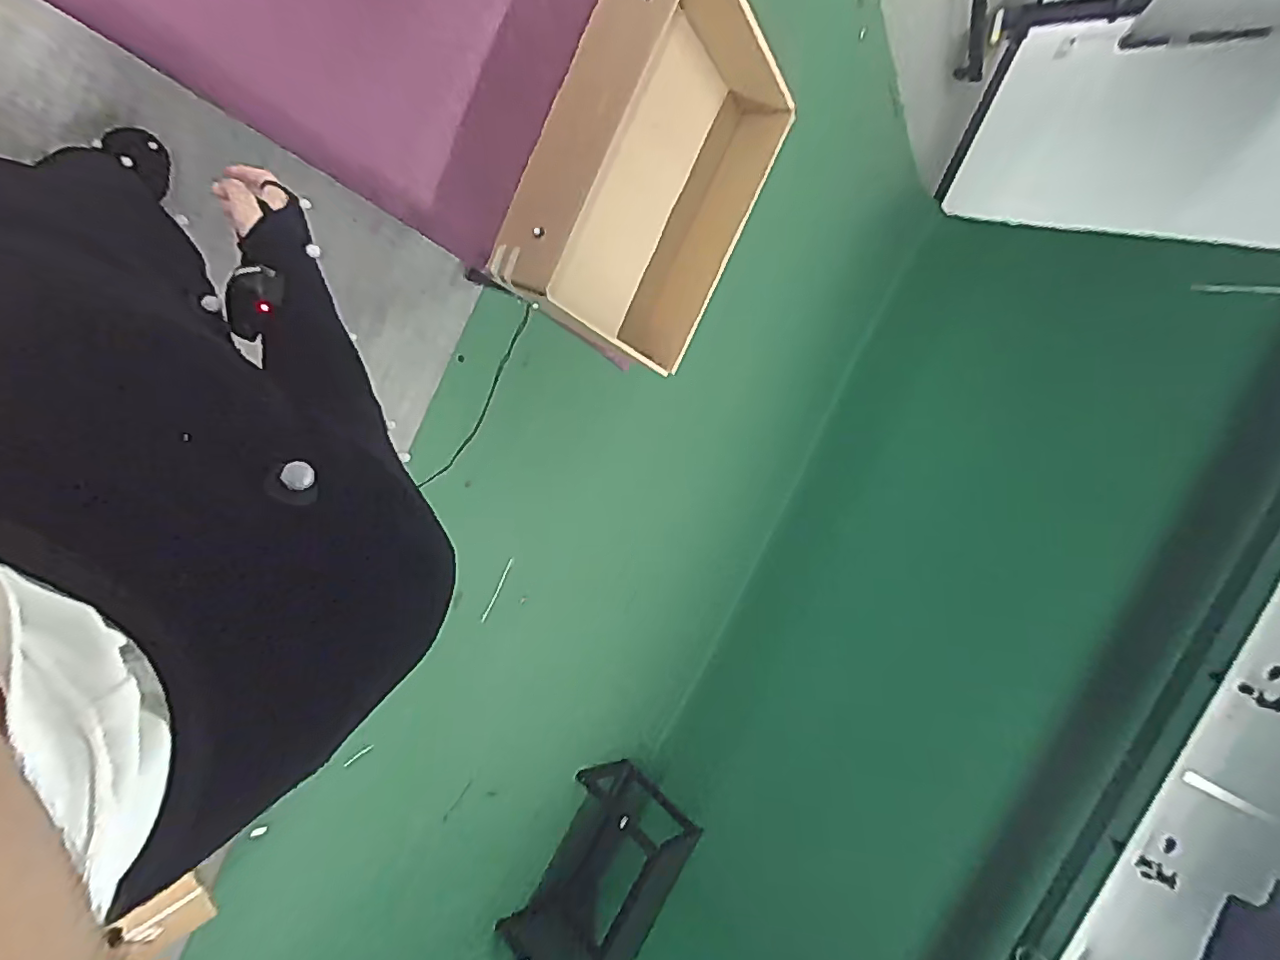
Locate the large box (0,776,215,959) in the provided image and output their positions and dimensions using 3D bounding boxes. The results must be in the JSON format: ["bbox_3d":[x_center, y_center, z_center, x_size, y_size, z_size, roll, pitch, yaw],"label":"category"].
[{"bbox_3d":[-1.503,1.141,1.498,0.408,0.320,0.320,-25,132,-41],"label":"large box"}]
